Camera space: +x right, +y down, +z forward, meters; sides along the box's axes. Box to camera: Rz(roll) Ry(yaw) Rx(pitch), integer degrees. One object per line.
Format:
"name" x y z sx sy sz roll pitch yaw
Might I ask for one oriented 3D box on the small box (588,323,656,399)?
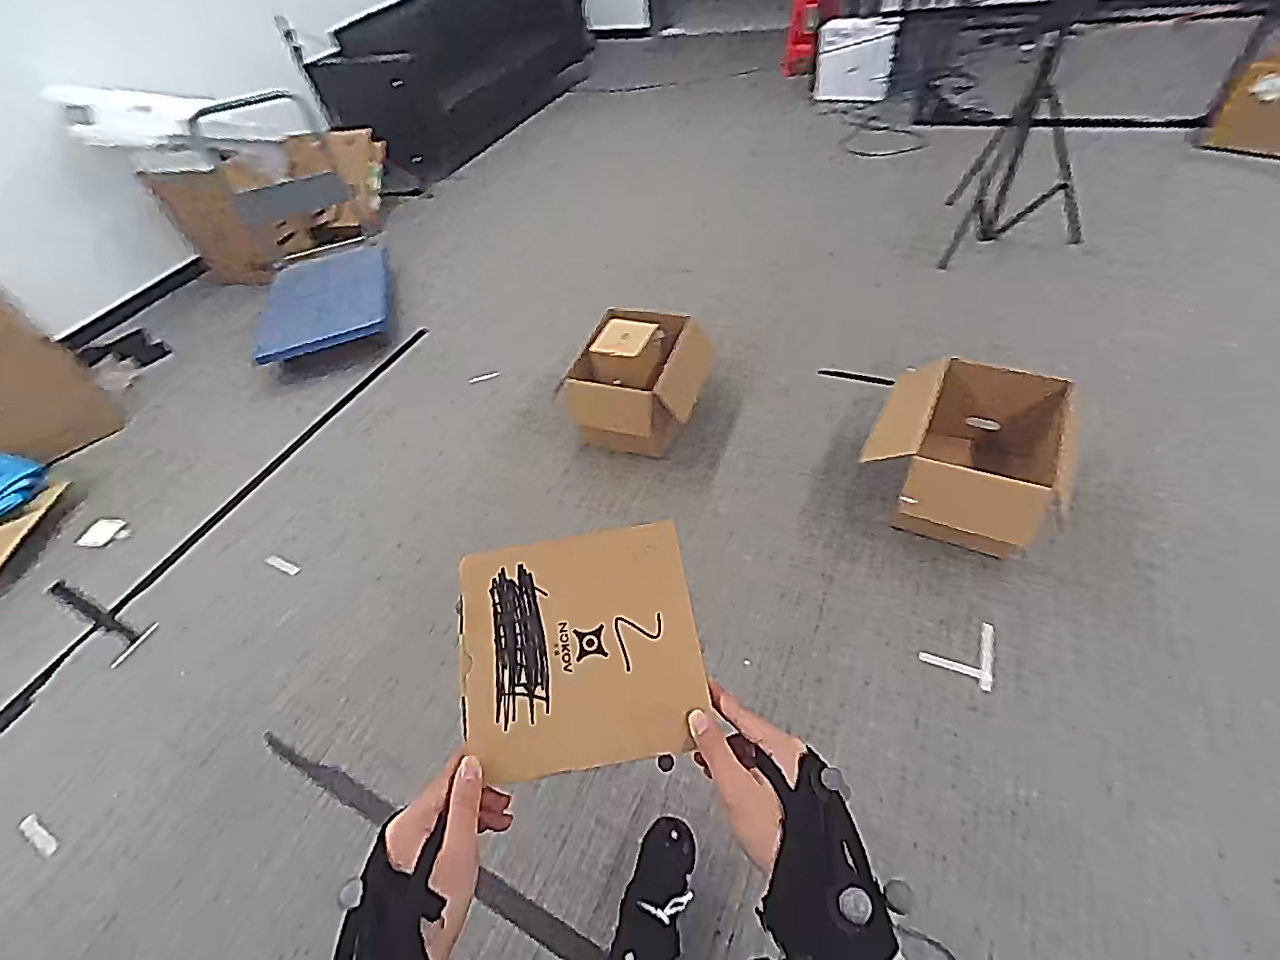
"small box" -0.053 -0.399 1.815 0.168 0.176 0.179 13 54 21
